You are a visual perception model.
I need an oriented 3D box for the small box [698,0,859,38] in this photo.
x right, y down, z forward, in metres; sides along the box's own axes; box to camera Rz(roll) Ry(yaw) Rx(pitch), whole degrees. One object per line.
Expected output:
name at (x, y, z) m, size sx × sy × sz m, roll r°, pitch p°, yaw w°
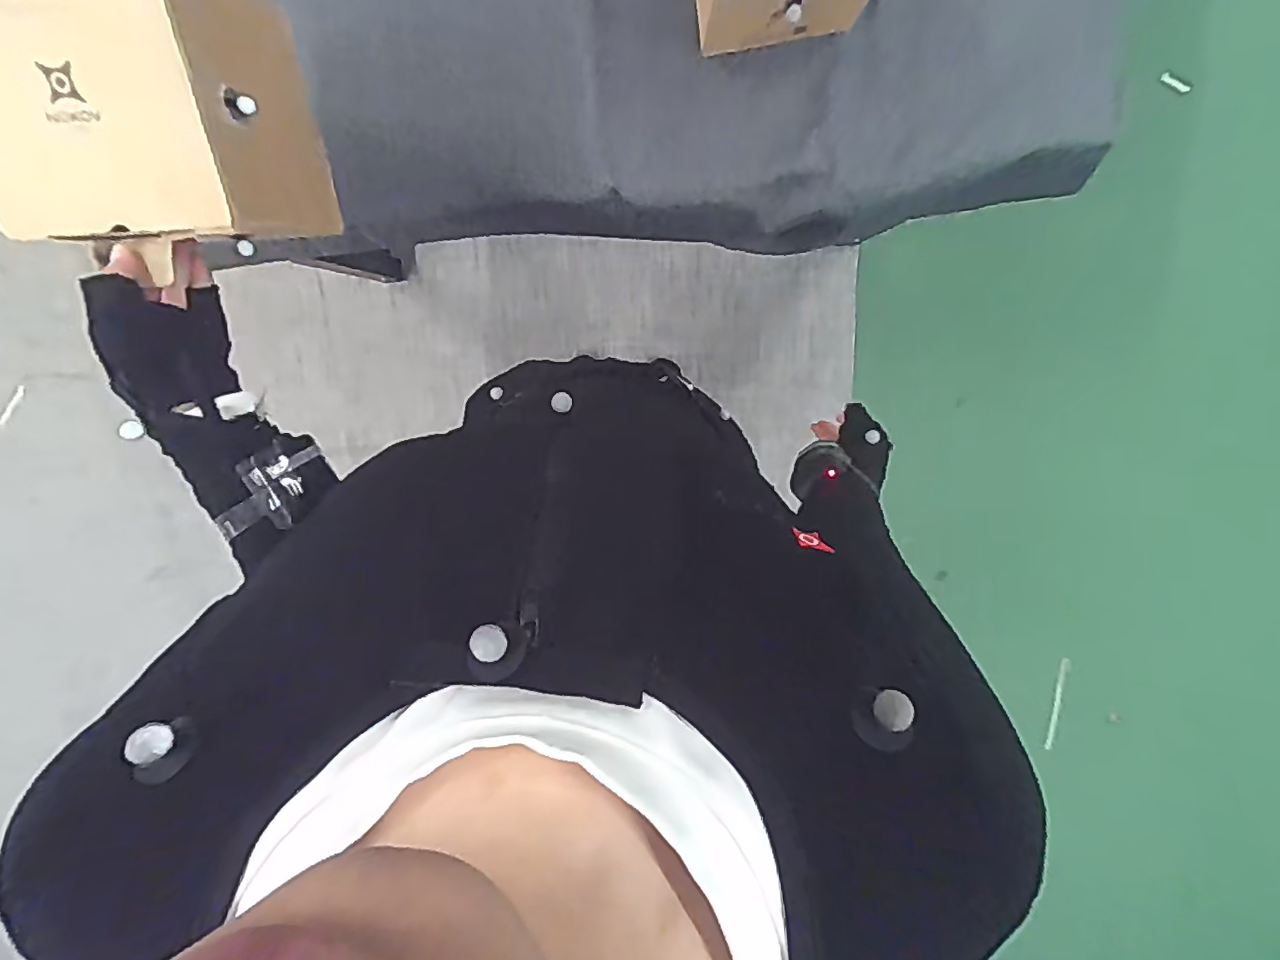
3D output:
small box at (0.137, -0.544, 0.491) m, size 0.168 × 0.176 × 0.179 m, roll -8°, pitch 105°, yaw 2°

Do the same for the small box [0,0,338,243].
small box at (-0.369, -0.284, 0.418) m, size 0.168 × 0.176 × 0.179 m, roll -4°, pitch 113°, yaw -1°
